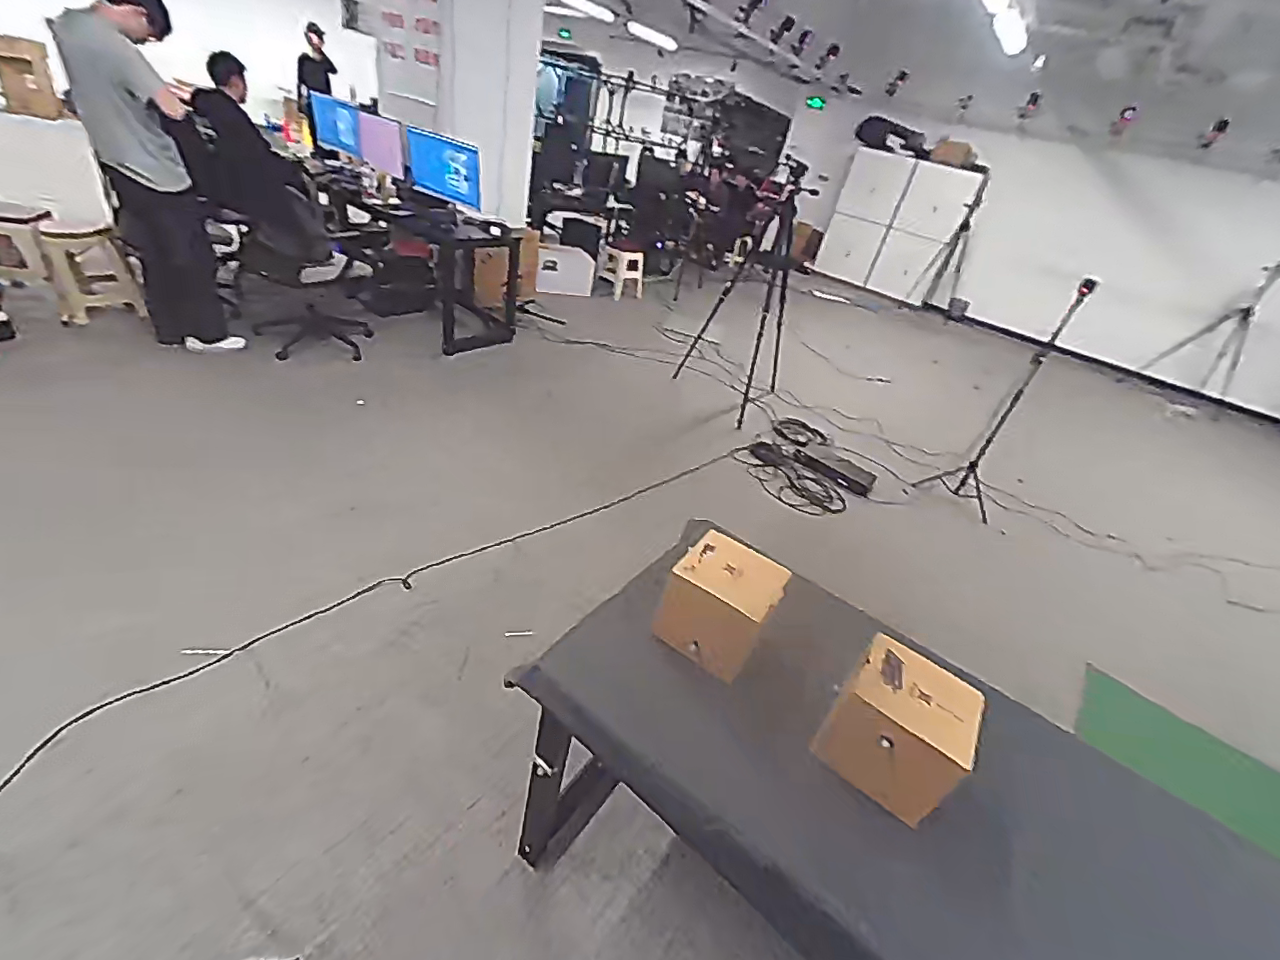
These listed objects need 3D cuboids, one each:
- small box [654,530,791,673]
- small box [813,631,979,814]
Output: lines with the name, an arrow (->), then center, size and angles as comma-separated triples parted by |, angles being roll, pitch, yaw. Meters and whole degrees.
small box -> 0.151, 0.232, 1.019 | 0.179, 0.176, 0.168 | 29, 36, 21
small box -> 0.407, 0.390, 0.875 | 0.179, 0.176, 0.168 | 31, 36, 24
